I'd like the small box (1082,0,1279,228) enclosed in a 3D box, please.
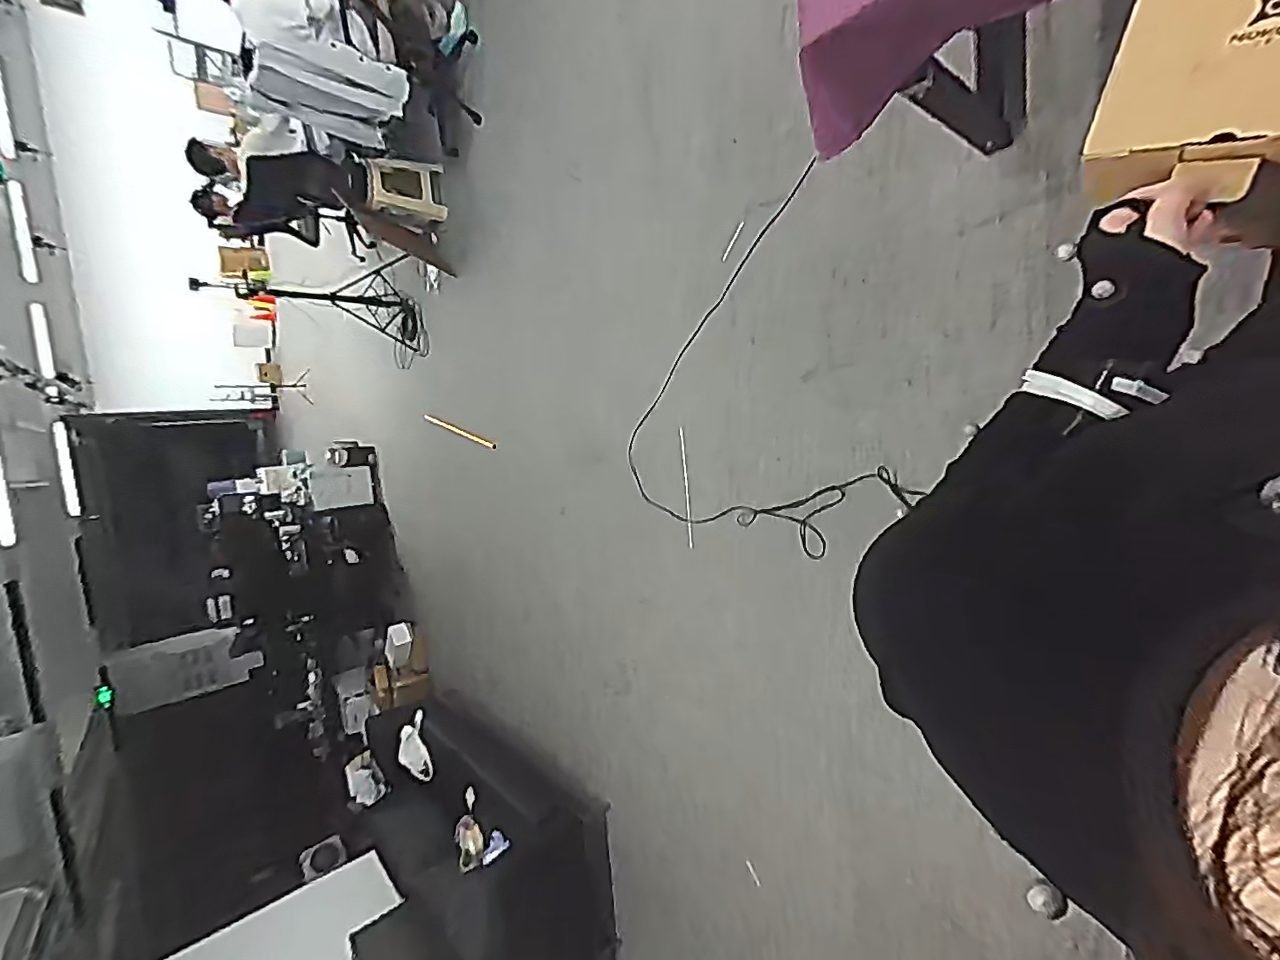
[{"bbox_3d":[0.495,-0.321,0.437,0.168,0.176,0.179,22,99,41],"label":"small box"}]
